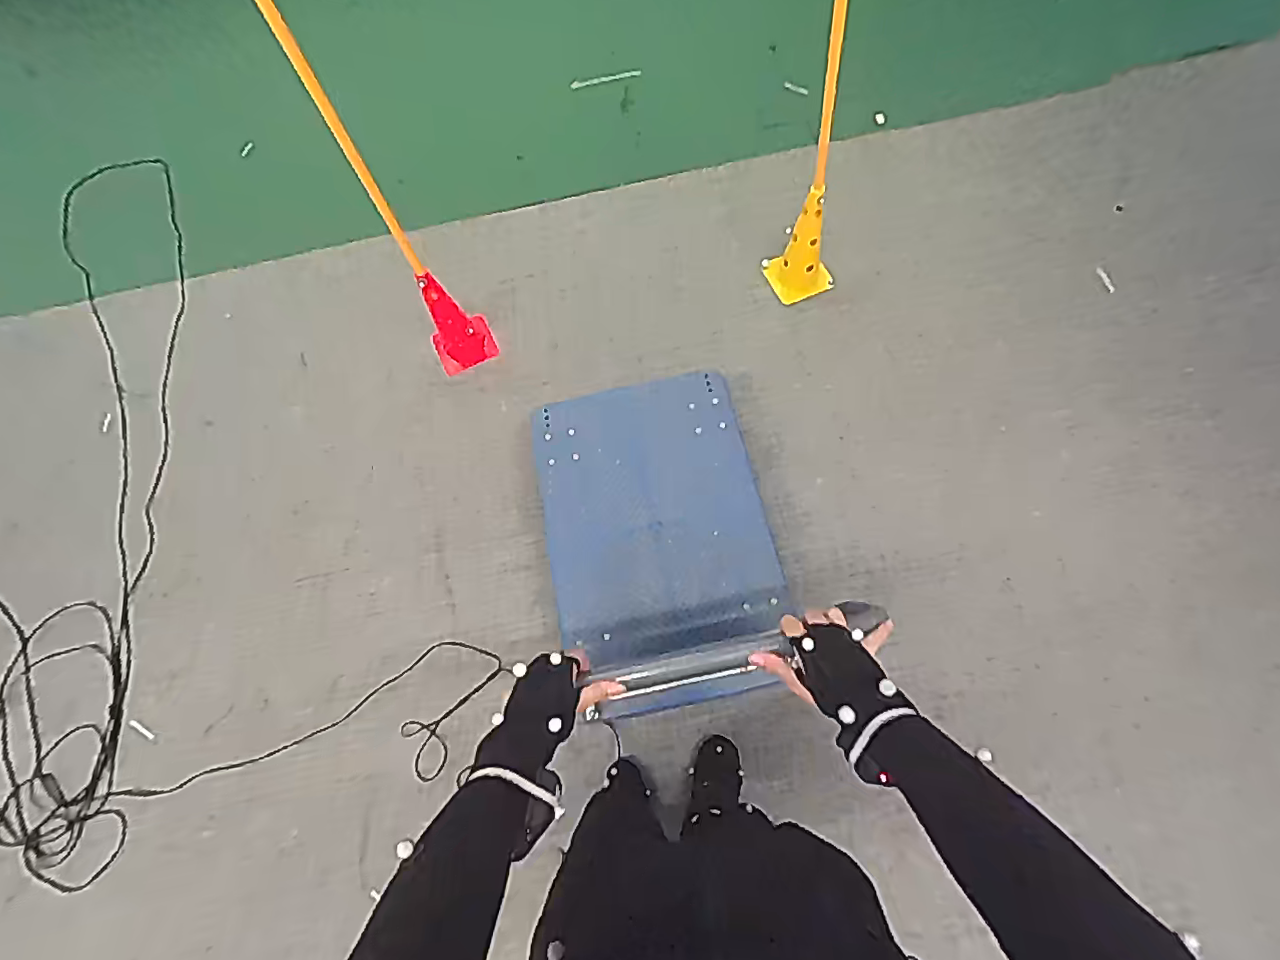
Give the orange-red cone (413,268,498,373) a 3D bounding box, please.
[{"bbox_3d":[-0.628,-0.539,1.734,0.199,0.360,0.198,-26,68,-4],"label":"orange-red cone"}]
